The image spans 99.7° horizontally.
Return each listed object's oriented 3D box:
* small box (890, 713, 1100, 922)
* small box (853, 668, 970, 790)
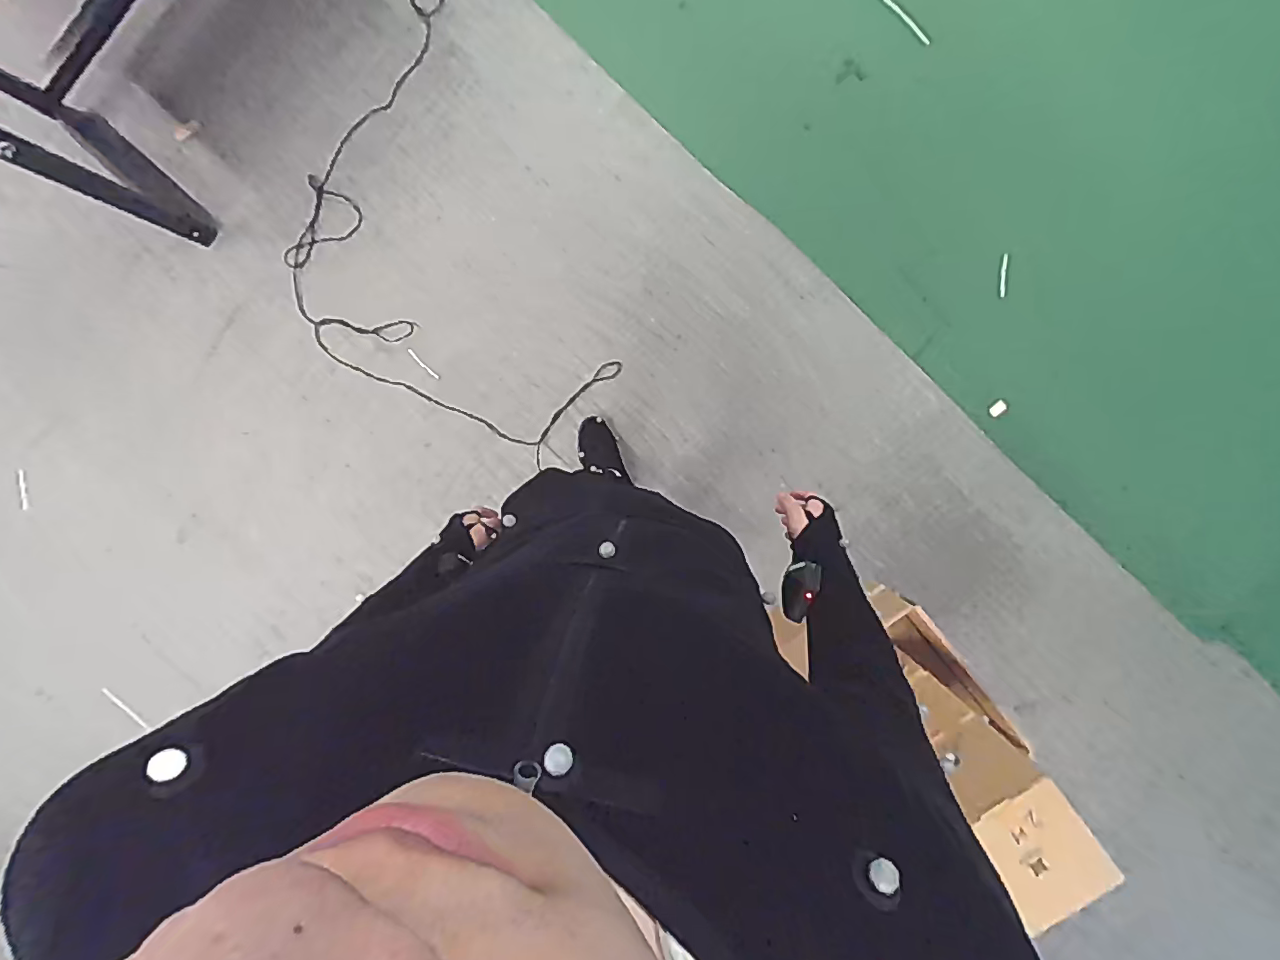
[{"bbox_3d":[0.528,0.503,0.832,0.168,0.176,0.179,-37,92,4],"label":"small box"},{"bbox_3d":[0.532,0.486,0.997,0.168,0.176,0.179,-37,92,5],"label":"small box"}]
